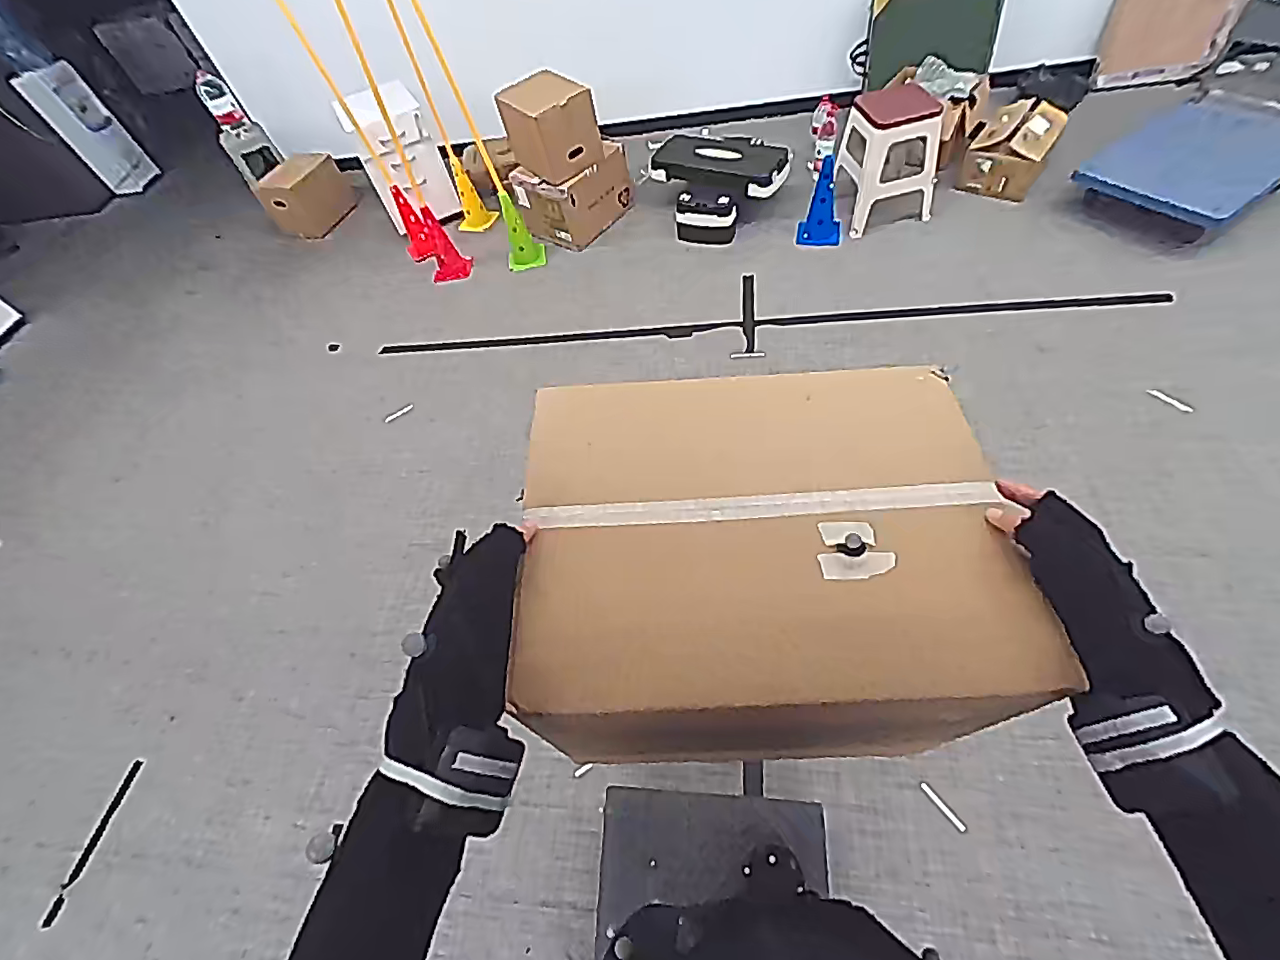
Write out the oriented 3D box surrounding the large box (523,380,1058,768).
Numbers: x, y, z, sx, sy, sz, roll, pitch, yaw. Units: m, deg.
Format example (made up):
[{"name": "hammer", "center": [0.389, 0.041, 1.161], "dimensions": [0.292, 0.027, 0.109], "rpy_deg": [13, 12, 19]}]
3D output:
[{"name": "large box", "center": [0.108, 0.118, 0.601], "dimensions": [0.408, 0.320, 0.320], "rpy_deg": [-3, 56, 1]}]
